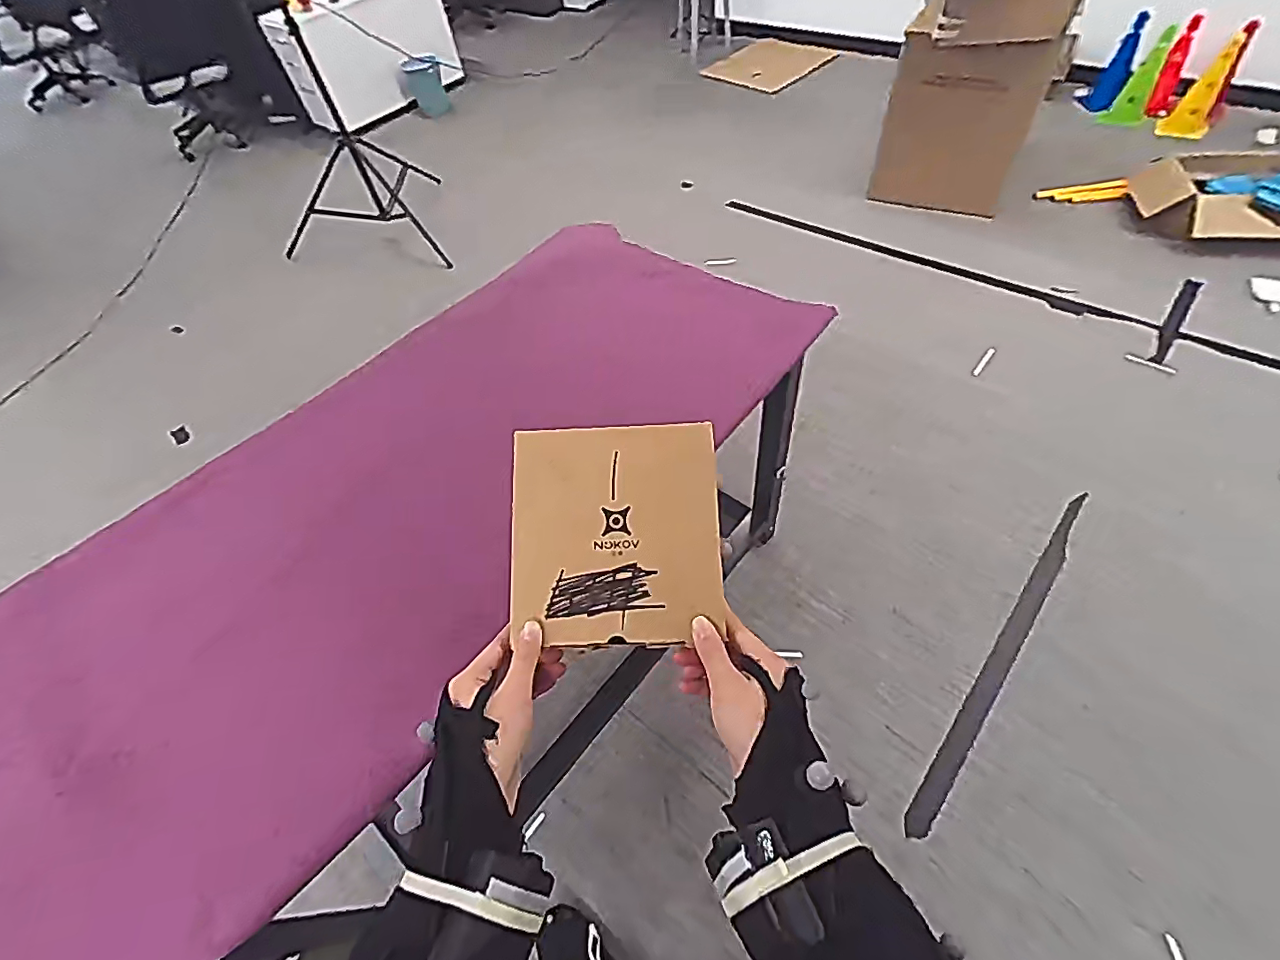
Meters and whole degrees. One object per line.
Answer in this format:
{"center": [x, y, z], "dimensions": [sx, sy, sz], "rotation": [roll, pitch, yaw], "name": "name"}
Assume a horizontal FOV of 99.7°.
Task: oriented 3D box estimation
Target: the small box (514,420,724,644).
{"center": [-0.013, 0.056, 0.505], "dimensions": [0.168, 0.176, 0.179], "rotation": [-2, 76, 2], "name": "small box"}
